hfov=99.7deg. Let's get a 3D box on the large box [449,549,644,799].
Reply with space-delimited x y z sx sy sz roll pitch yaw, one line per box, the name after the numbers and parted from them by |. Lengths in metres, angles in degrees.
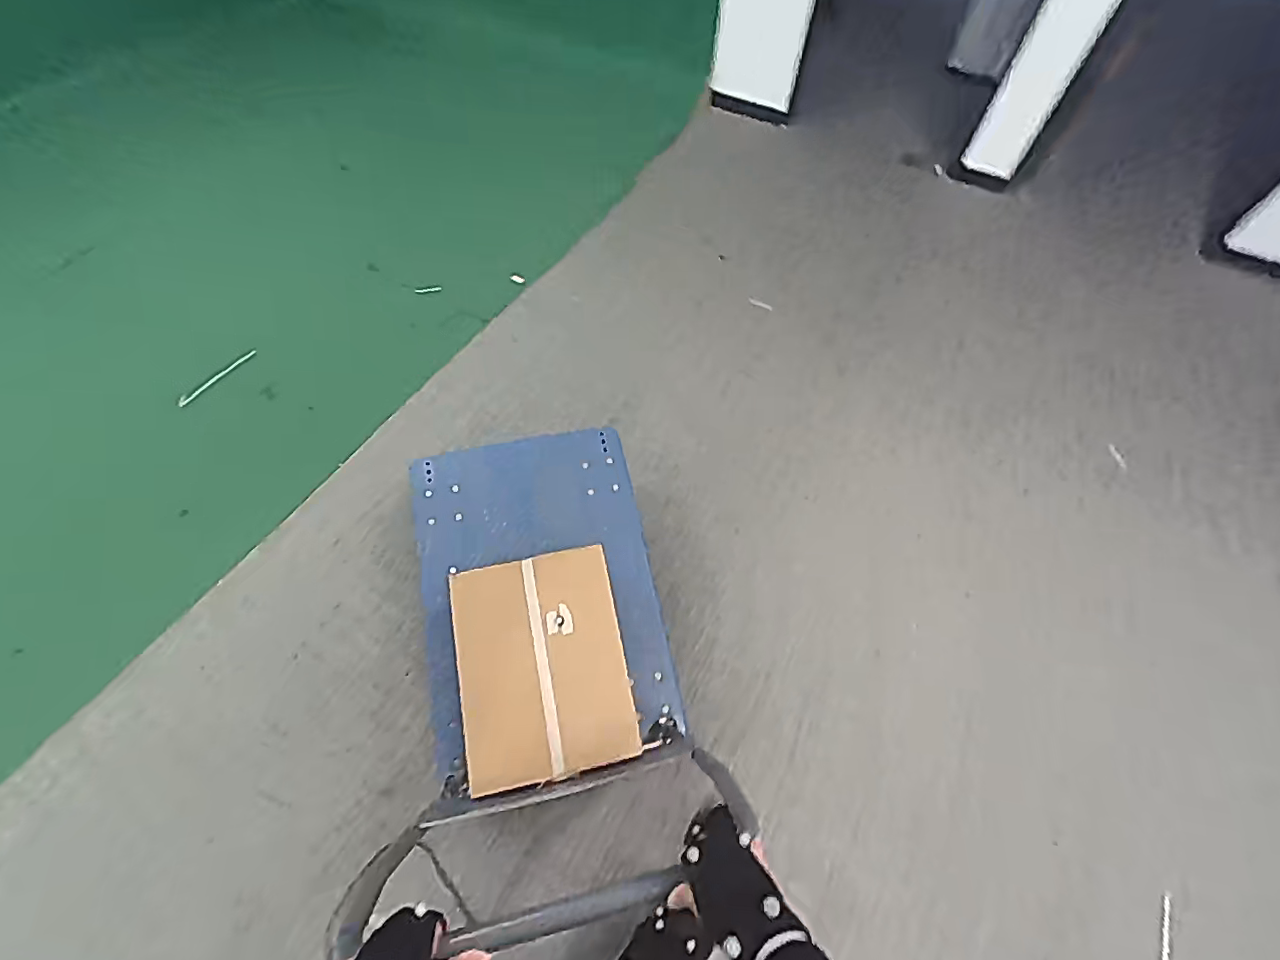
-0.194 0.406 1.169 0.320 0.320 0.408 -11 69 -9 | large box
